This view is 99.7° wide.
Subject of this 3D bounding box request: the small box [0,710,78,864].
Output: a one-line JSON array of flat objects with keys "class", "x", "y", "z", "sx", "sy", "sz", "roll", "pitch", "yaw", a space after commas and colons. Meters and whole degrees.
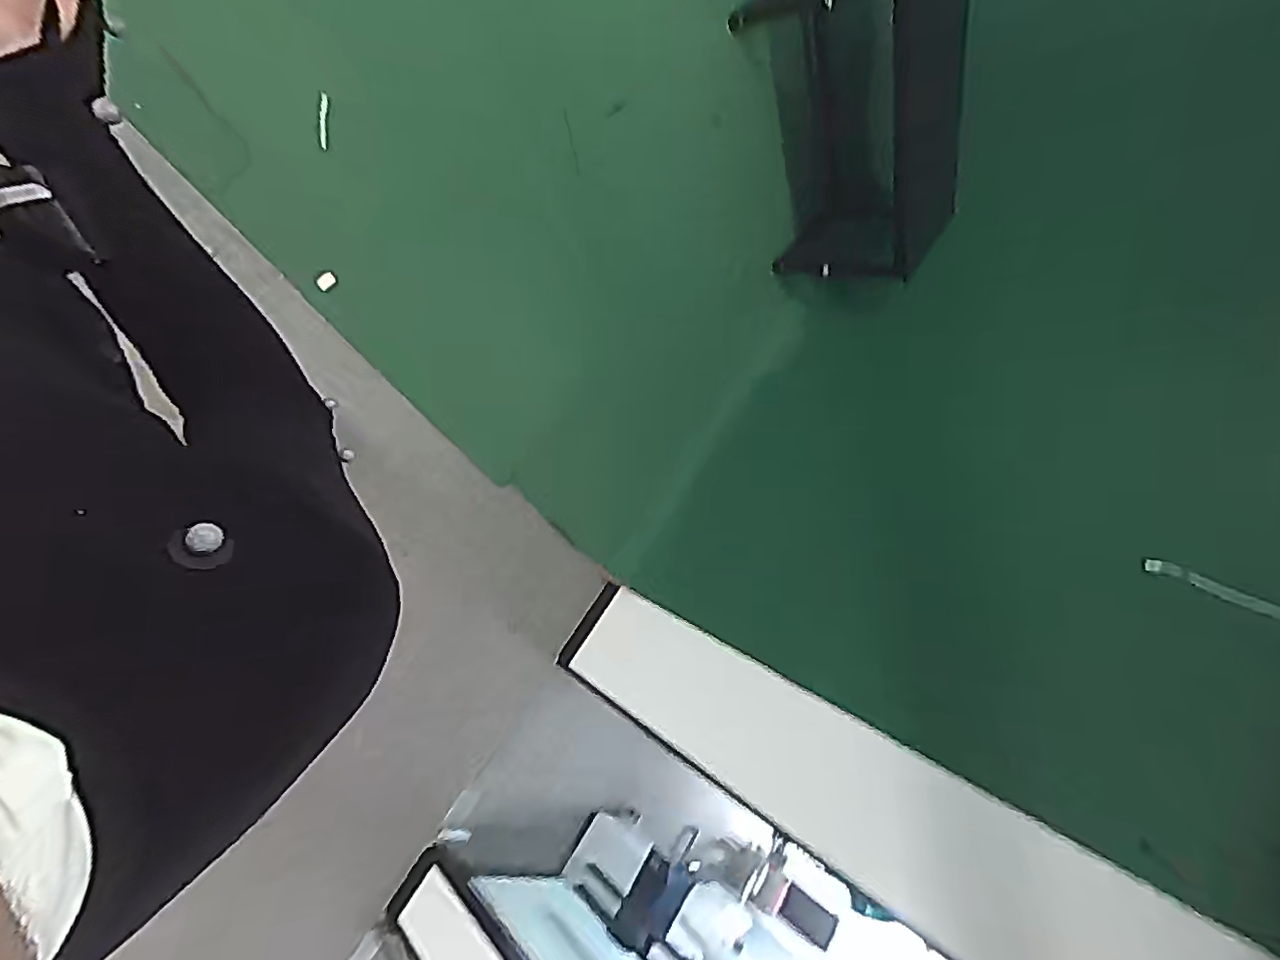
[{"class": "small box", "x": -1.043, "y": 0.481, "z": 0.837, "sx": 0.168, "sy": 0.176, "sz": 0.179, "roll": -50, "pitch": 138, "yaw": -22}]
